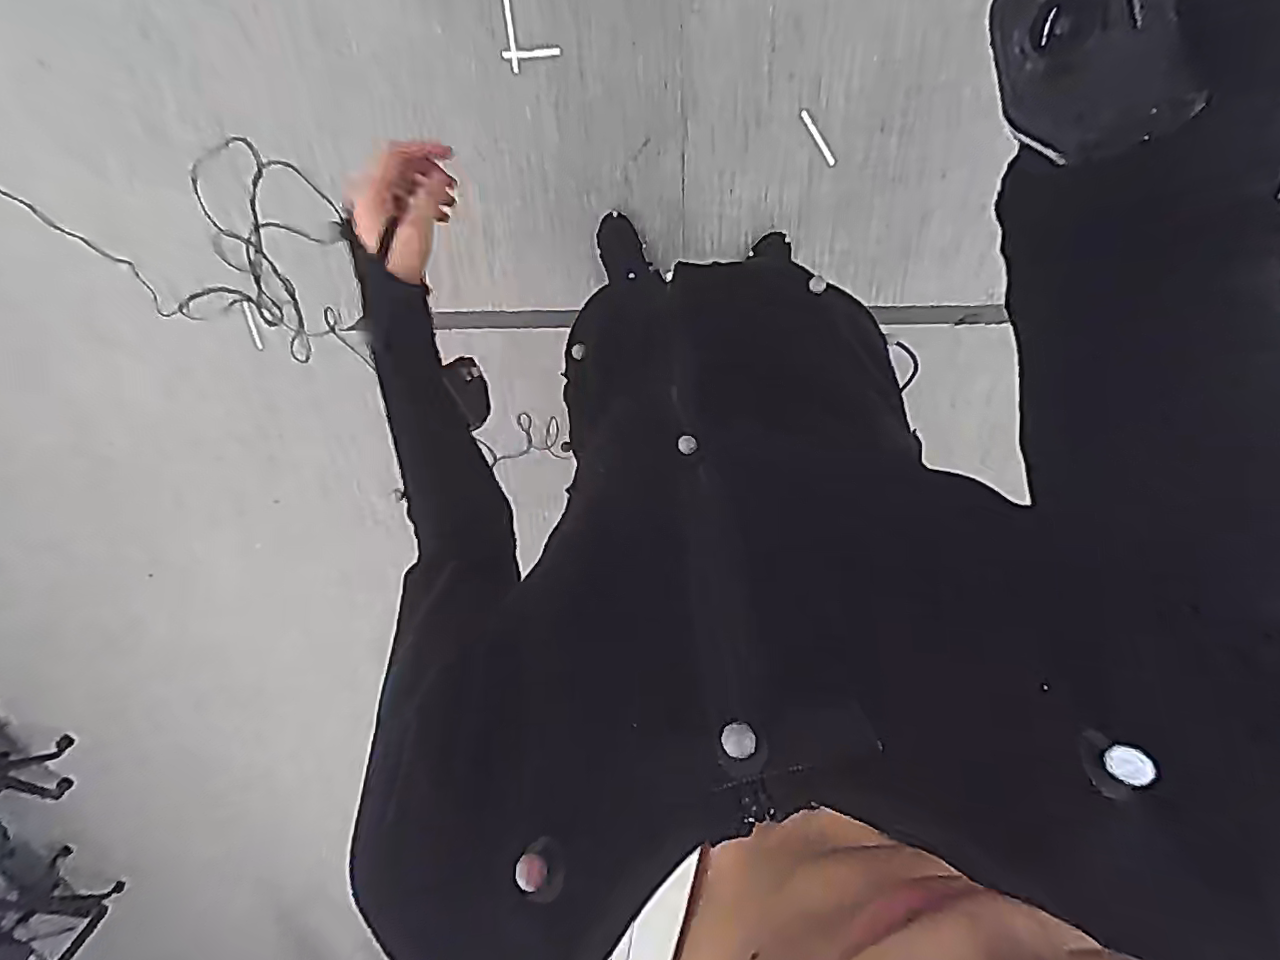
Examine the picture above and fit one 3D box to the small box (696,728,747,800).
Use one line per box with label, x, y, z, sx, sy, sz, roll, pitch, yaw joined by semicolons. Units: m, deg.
small box;0.290;1.015;1.943;0.168;0.176;0.179;-3;118;5
